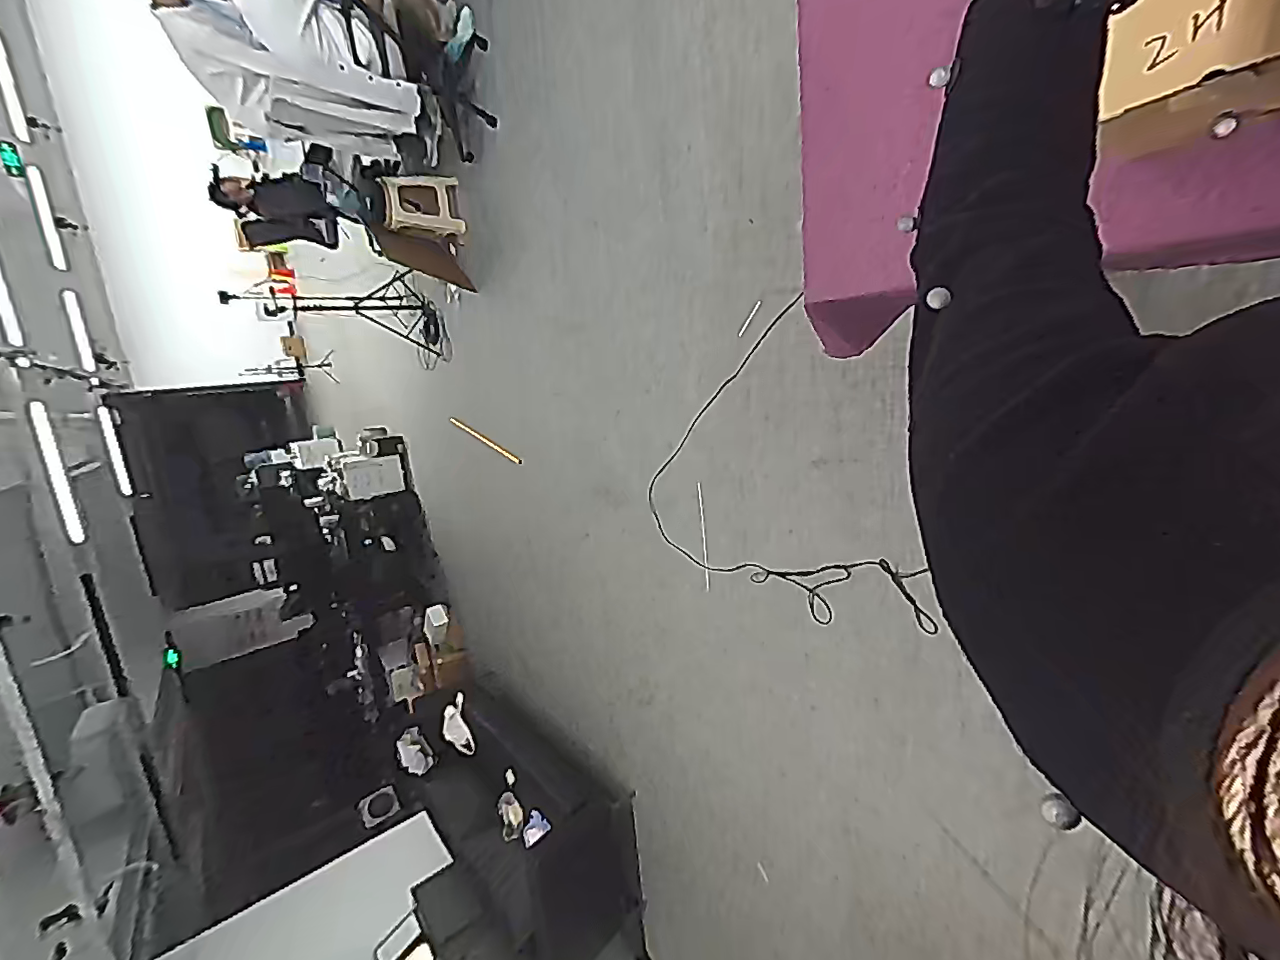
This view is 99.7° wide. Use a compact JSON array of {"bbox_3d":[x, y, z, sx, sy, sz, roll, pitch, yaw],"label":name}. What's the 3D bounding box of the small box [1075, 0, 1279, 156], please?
[{"bbox_3d":[0.489,-0.401,0.446,0.168,0.176,0.179,7,106,52],"label":"small box"}]
